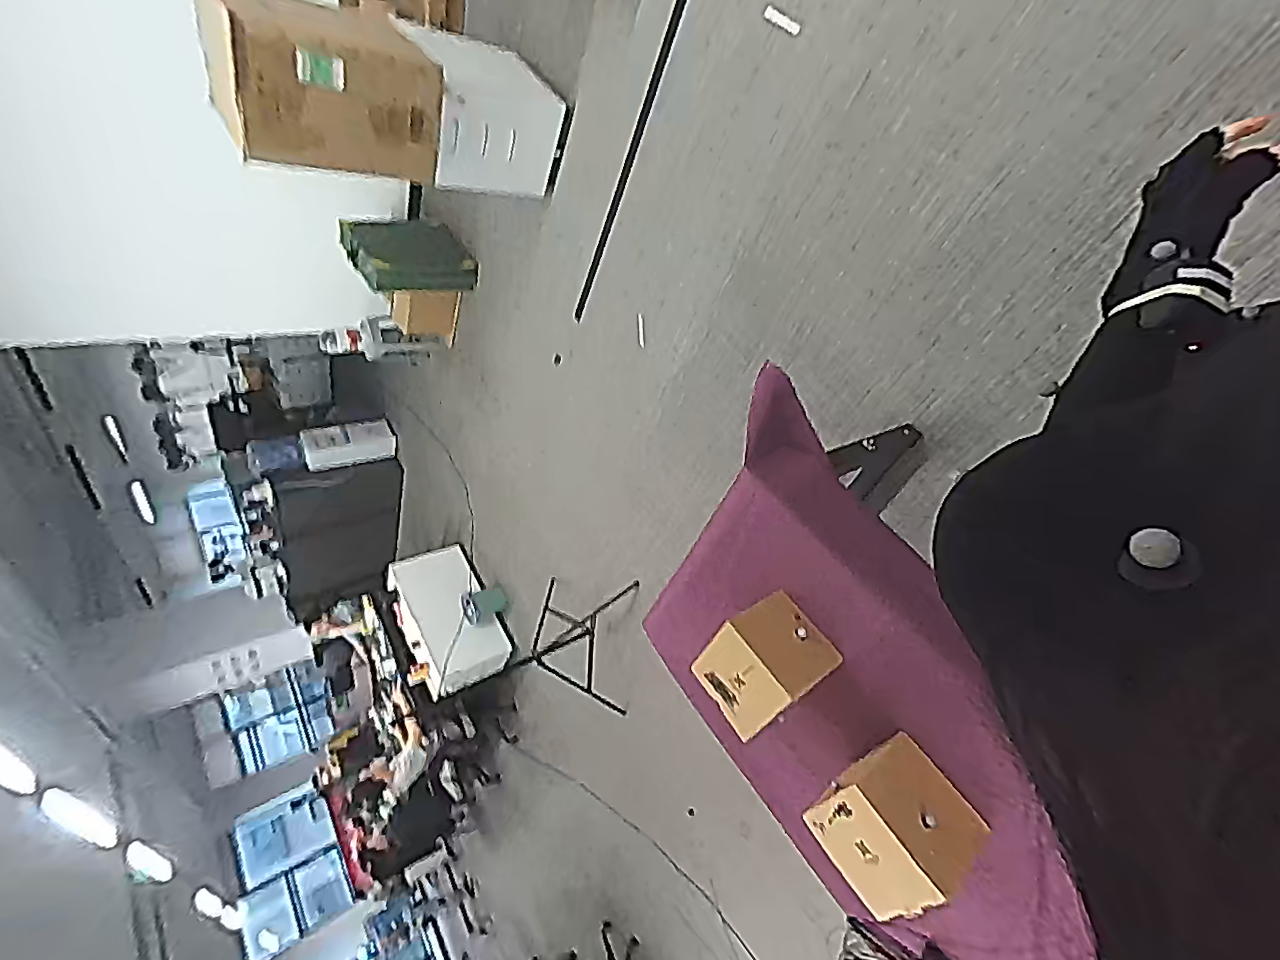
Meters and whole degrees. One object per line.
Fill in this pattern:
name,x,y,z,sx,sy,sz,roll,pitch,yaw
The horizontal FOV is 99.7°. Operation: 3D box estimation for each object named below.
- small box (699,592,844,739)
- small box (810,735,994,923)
small box,0.247,0.344,1.019,0.168,0.176,0.179,50,136,28
small box,0.422,0.555,0.874,0.179,0.176,0.168,49,137,28
